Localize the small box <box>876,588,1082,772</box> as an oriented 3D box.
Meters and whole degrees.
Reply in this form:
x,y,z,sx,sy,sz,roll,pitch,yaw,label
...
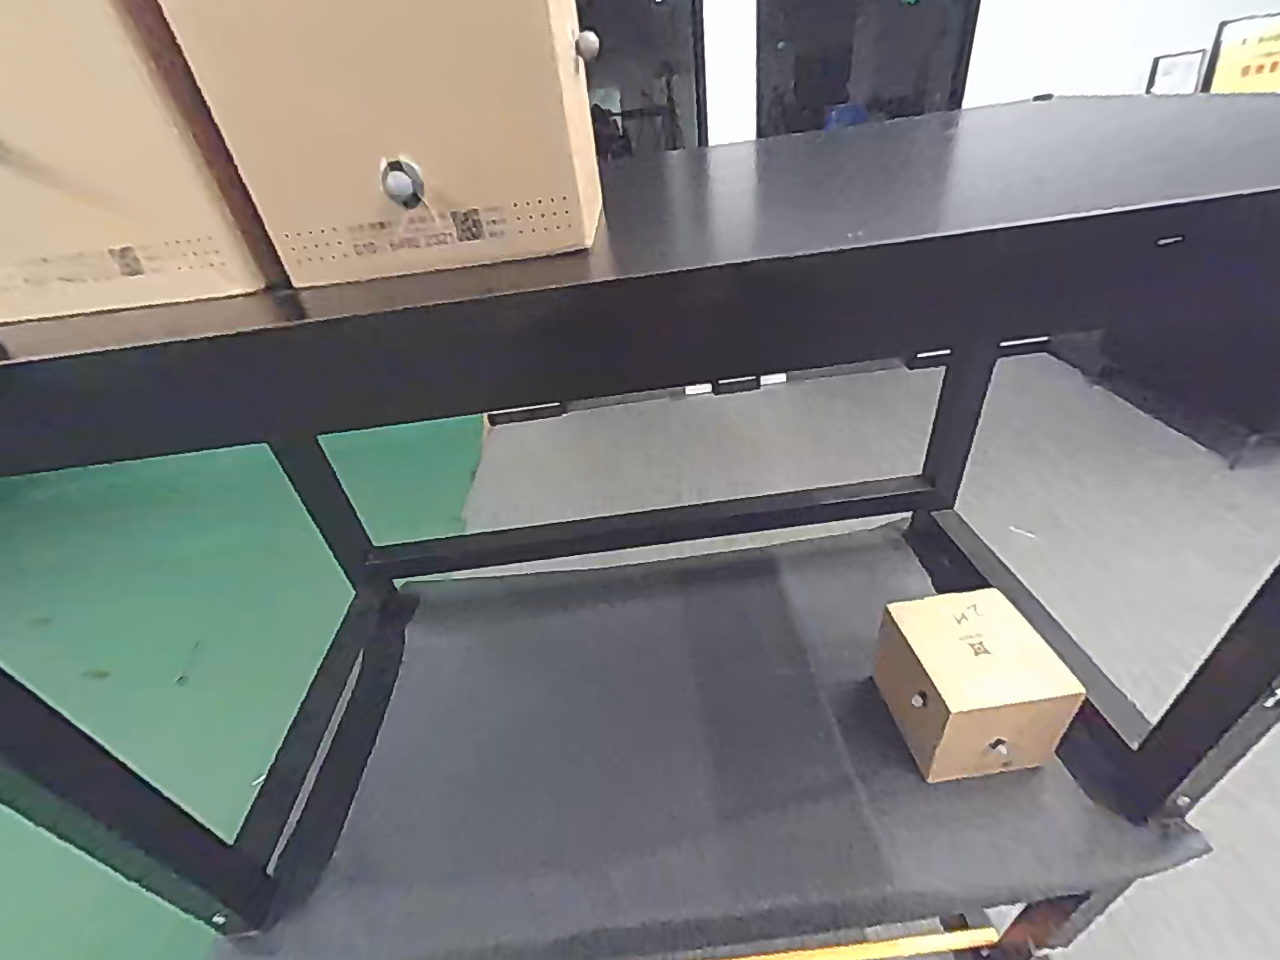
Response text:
x,y,z,sx,sy,sz,roll,pitch,yaw,label
0.452,0.282,0.757,0.168,0.176,0.179,-8,34,0,small box
